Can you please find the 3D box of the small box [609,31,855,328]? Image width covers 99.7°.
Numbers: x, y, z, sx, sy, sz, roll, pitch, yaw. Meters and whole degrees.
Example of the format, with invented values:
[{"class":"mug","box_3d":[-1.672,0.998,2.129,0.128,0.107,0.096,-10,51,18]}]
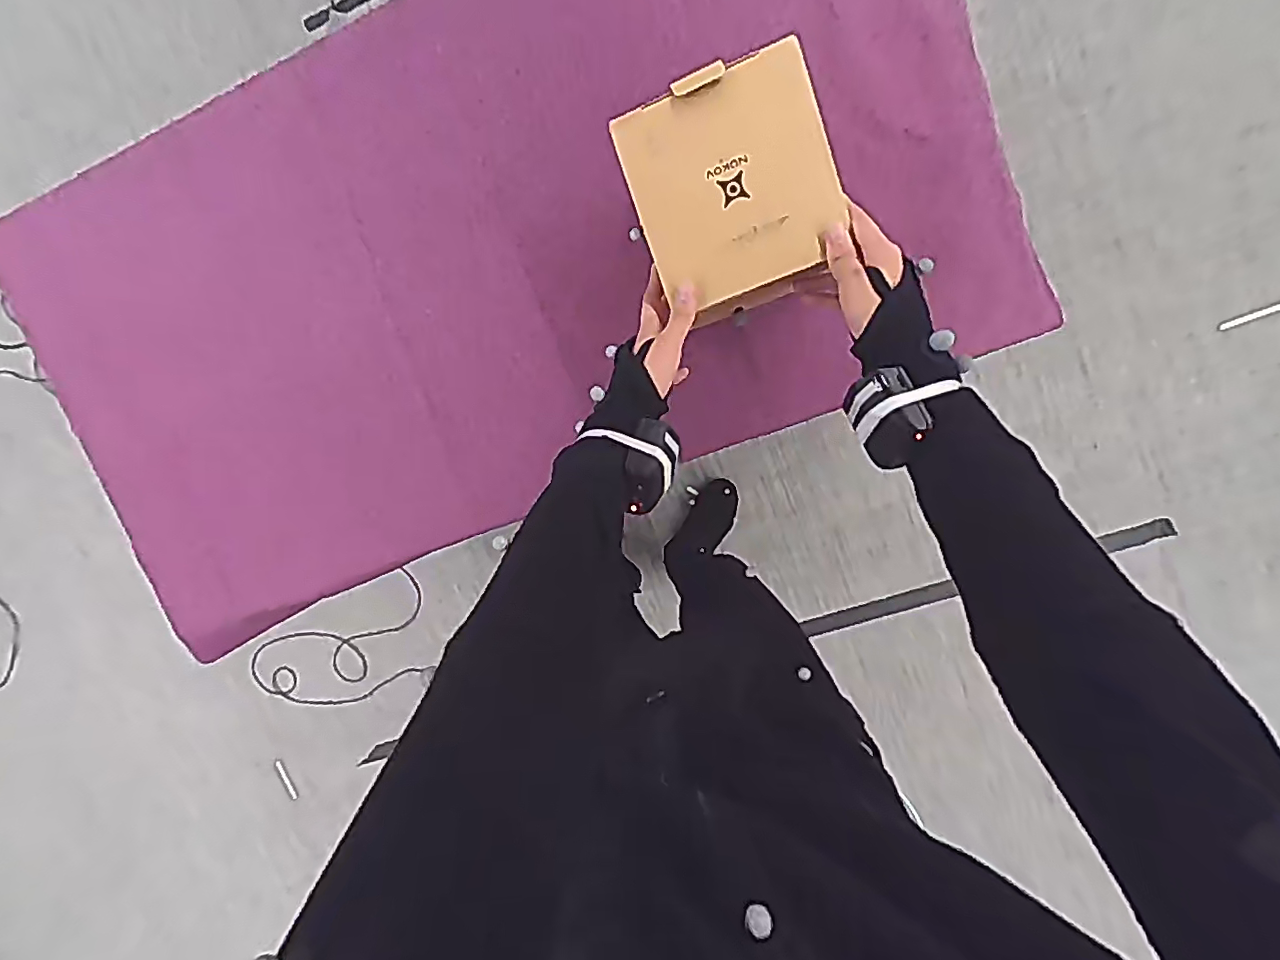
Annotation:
[{"class":"small box","box_3d":[0.084,-0.262,0.524,0.168,0.176,0.179,-18,98,11]}]
